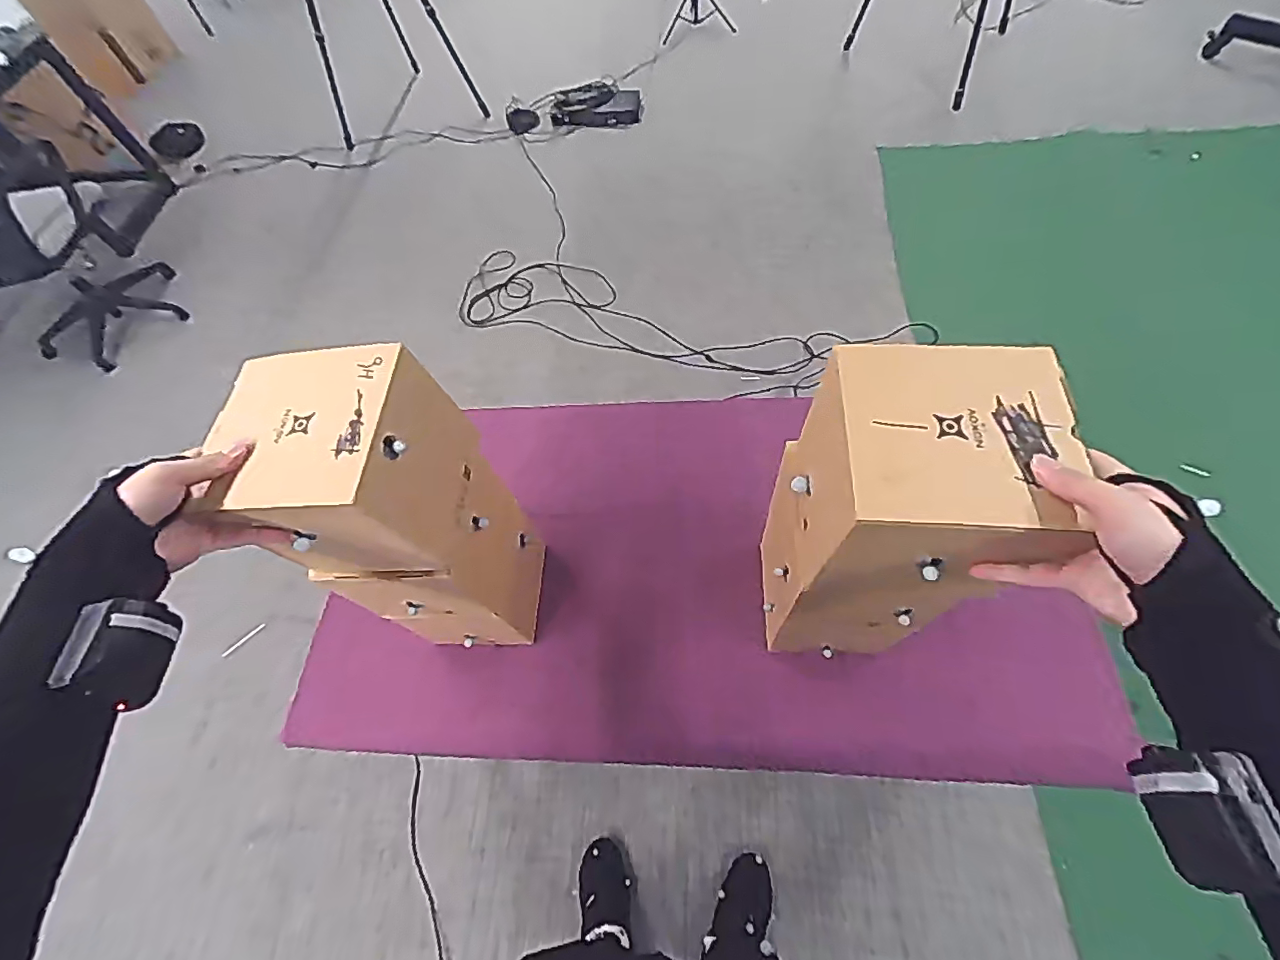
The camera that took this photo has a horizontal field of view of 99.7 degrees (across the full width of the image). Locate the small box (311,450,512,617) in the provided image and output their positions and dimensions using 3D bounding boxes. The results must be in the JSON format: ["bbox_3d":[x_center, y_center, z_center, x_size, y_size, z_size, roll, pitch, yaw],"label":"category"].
[{"bbox_3d":[-0.276,0.070,0.701,0.168,0.176,0.179,-2,62,6],"label":"small box"}]

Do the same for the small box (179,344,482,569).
[{"bbox_3d":[-0.291,-0.011,0.550,0.179,0.176,0.168,-3,63,13],"label":"small box"}]

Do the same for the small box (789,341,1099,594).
[{"bbox_3d":[0.240,-0.003,0.482,0.179,0.176,0.168,2,61,6],"label":"small box"}]

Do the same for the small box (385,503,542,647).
[{"bbox_3d":[-0.258,0.150,0.842,0.168,0.176,0.179,-1,60,7],"label":"small box"}]

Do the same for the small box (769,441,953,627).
[{"bbox_3d":[0.245,0.069,0.633,0.168,0.176,0.179,-1,61,6],"label":"small box"}]
